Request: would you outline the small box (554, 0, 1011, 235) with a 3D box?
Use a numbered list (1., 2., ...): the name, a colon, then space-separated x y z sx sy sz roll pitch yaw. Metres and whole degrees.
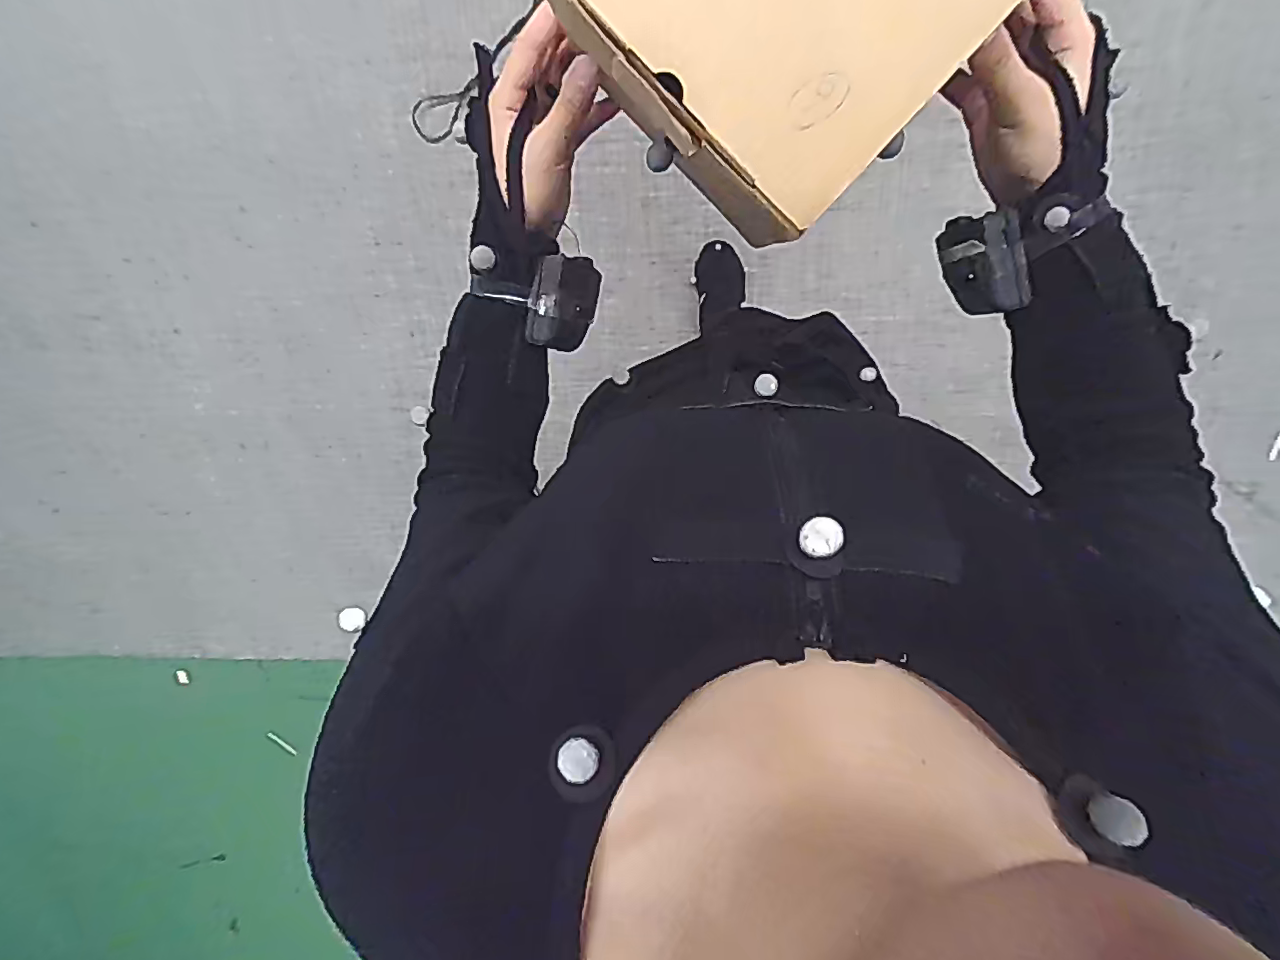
1. small box: 0.077 -0.252 0.281 0.168 0.176 0.179 41 110 -10
